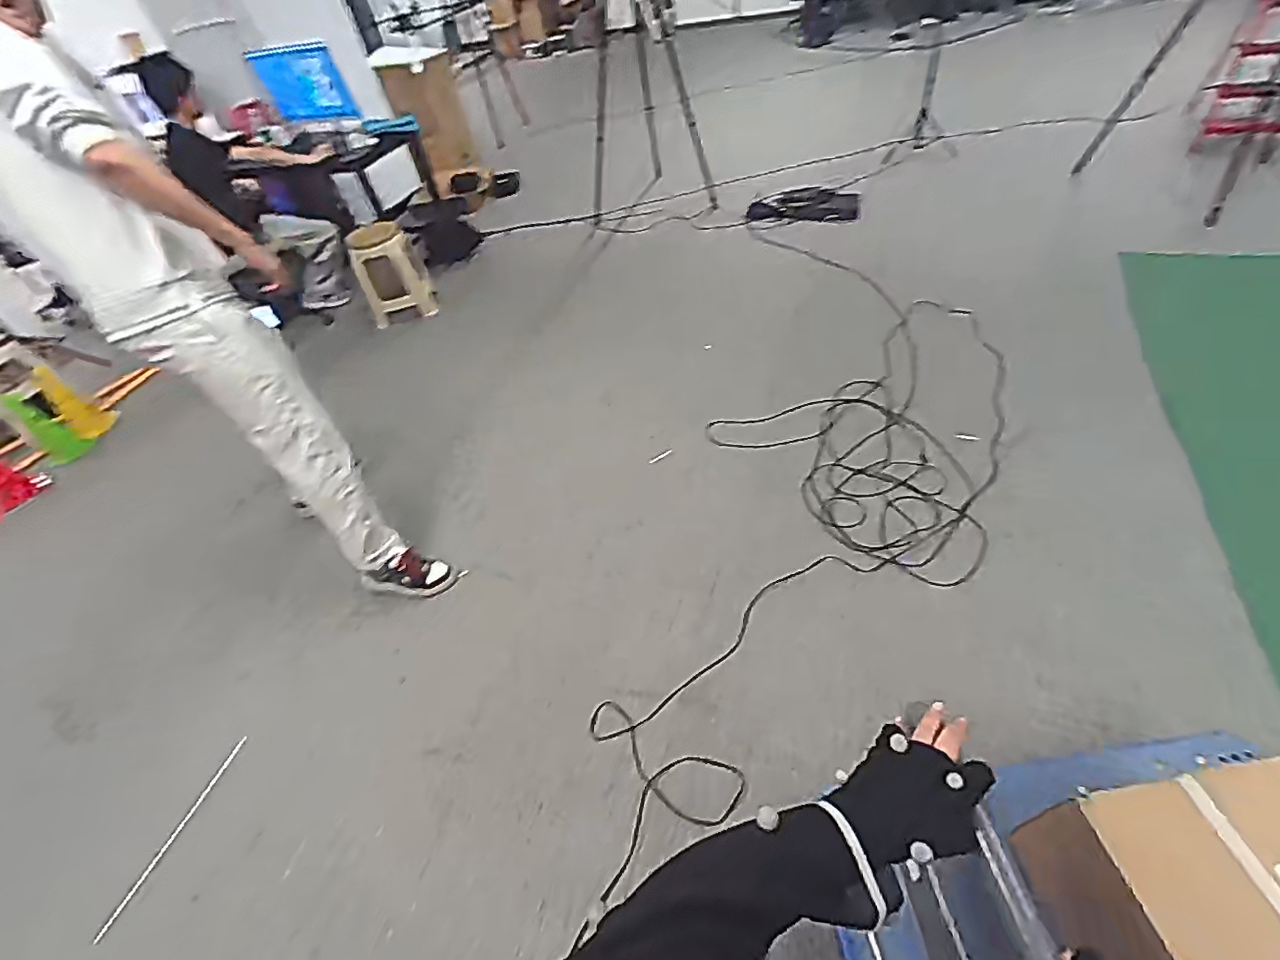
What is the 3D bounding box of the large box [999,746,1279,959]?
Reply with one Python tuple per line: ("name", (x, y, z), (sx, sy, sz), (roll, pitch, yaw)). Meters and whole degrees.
("large box", (0.833, 0.675, 0.790), (0.320, 0.320, 0.408), (-12, 46, 0))
